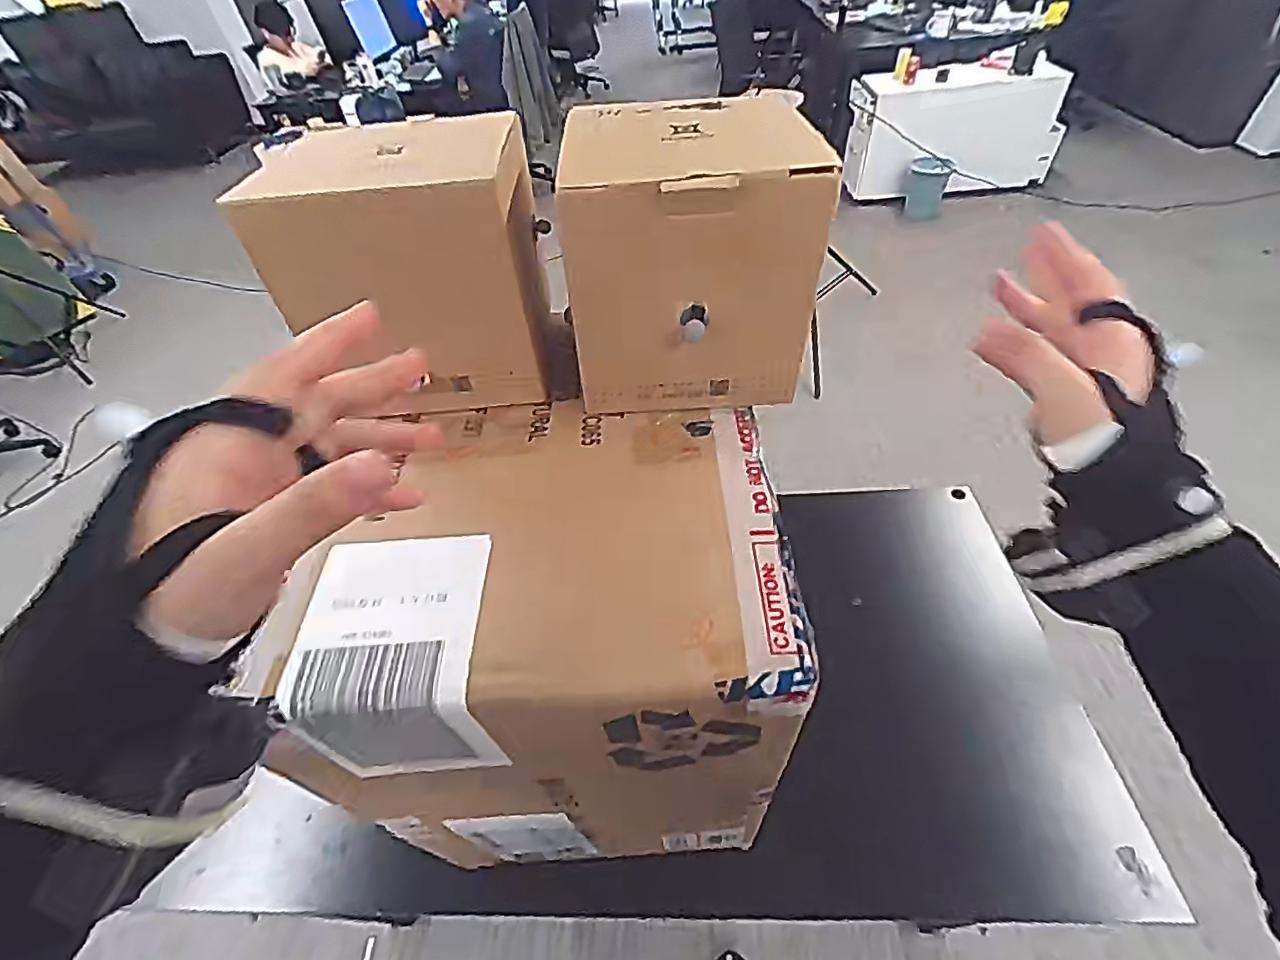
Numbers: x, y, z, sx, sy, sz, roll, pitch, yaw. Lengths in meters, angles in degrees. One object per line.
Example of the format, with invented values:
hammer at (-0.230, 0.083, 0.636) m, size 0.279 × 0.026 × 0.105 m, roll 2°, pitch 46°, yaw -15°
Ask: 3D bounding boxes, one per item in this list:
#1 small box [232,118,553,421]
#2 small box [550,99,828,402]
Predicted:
small box at (-0.168, -0.171, 0.440) m, size 0.168 × 0.176 × 0.179 m, roll -7°, pitch 46°, yaw -1°
small box at (0.030, -0.173, 0.425) m, size 0.168 × 0.176 × 0.179 m, roll -2°, pitch 48°, yaw 0°
